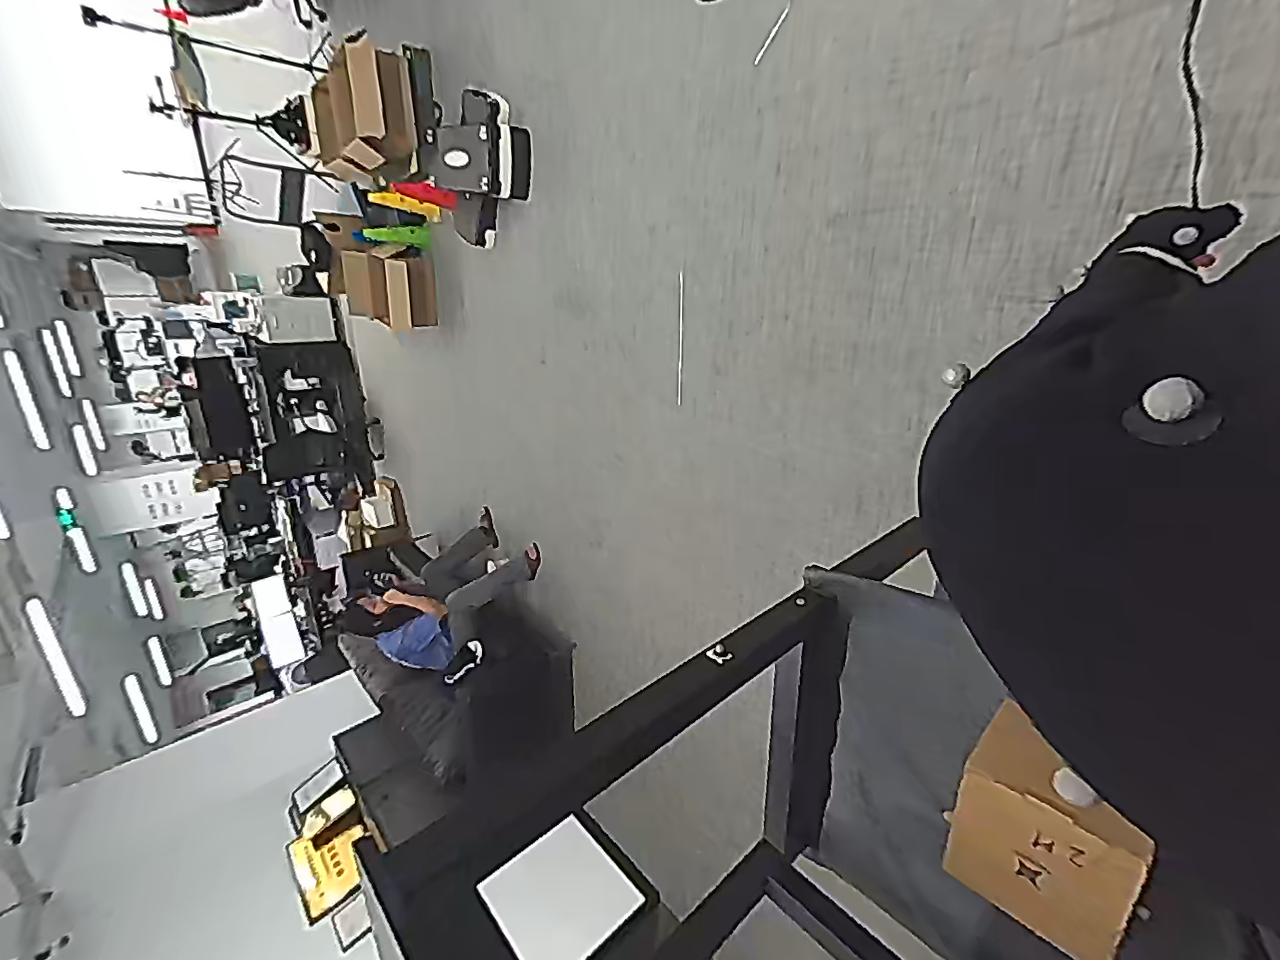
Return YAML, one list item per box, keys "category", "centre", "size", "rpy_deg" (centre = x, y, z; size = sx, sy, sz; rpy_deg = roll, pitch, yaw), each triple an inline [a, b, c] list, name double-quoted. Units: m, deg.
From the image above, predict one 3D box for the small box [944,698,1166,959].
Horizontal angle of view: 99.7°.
- category: "small box"
  centre: [0.495, 0.406, 0.649]
  size: [0.168, 0.176, 0.179]
  rpy_deg: [18, 117, 44]
